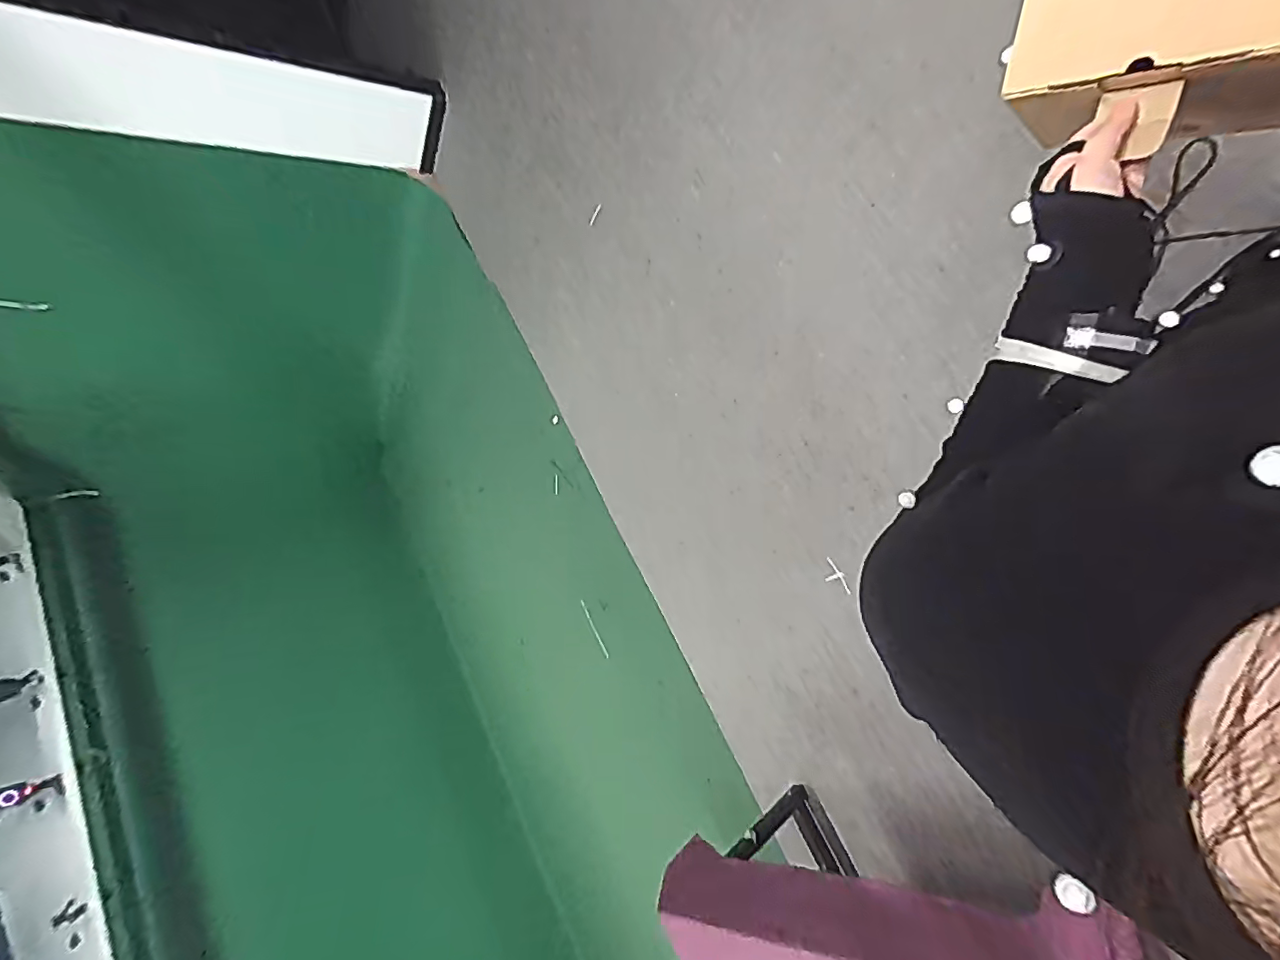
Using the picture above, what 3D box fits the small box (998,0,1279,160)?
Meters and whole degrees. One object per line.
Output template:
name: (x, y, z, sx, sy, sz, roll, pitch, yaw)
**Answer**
small box: (0.405, -0.367, 0.407, 0.168, 0.176, 0.179, 22, 115, 42)
